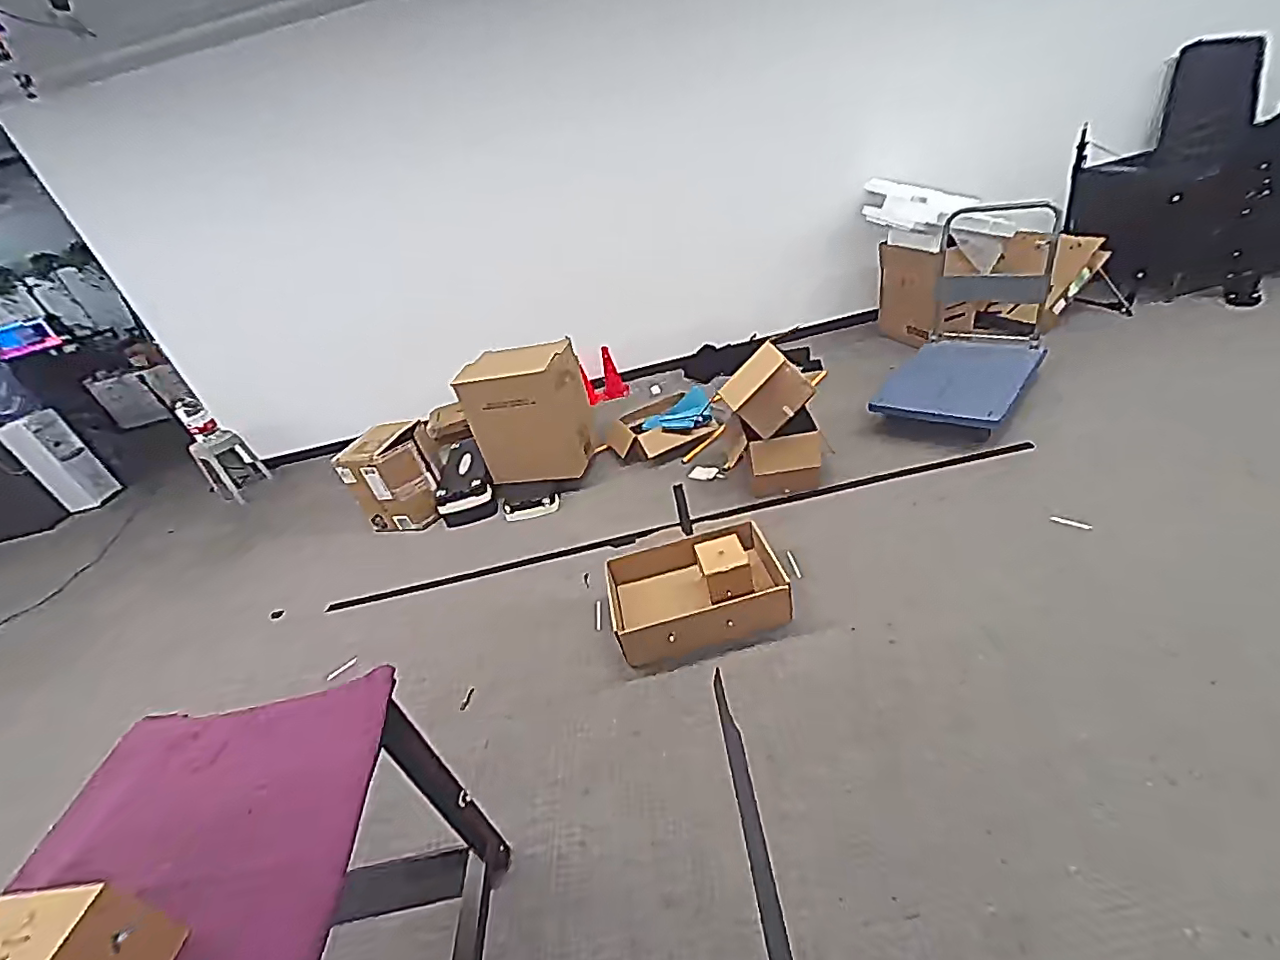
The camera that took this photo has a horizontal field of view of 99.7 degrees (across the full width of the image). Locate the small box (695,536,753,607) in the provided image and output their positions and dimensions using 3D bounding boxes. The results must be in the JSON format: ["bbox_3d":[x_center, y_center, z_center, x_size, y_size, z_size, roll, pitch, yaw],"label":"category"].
[{"bbox_3d":[0.312,0.341,2.011,0.168,0.176,0.179,-16,32,-1],"label":"small box"}]
